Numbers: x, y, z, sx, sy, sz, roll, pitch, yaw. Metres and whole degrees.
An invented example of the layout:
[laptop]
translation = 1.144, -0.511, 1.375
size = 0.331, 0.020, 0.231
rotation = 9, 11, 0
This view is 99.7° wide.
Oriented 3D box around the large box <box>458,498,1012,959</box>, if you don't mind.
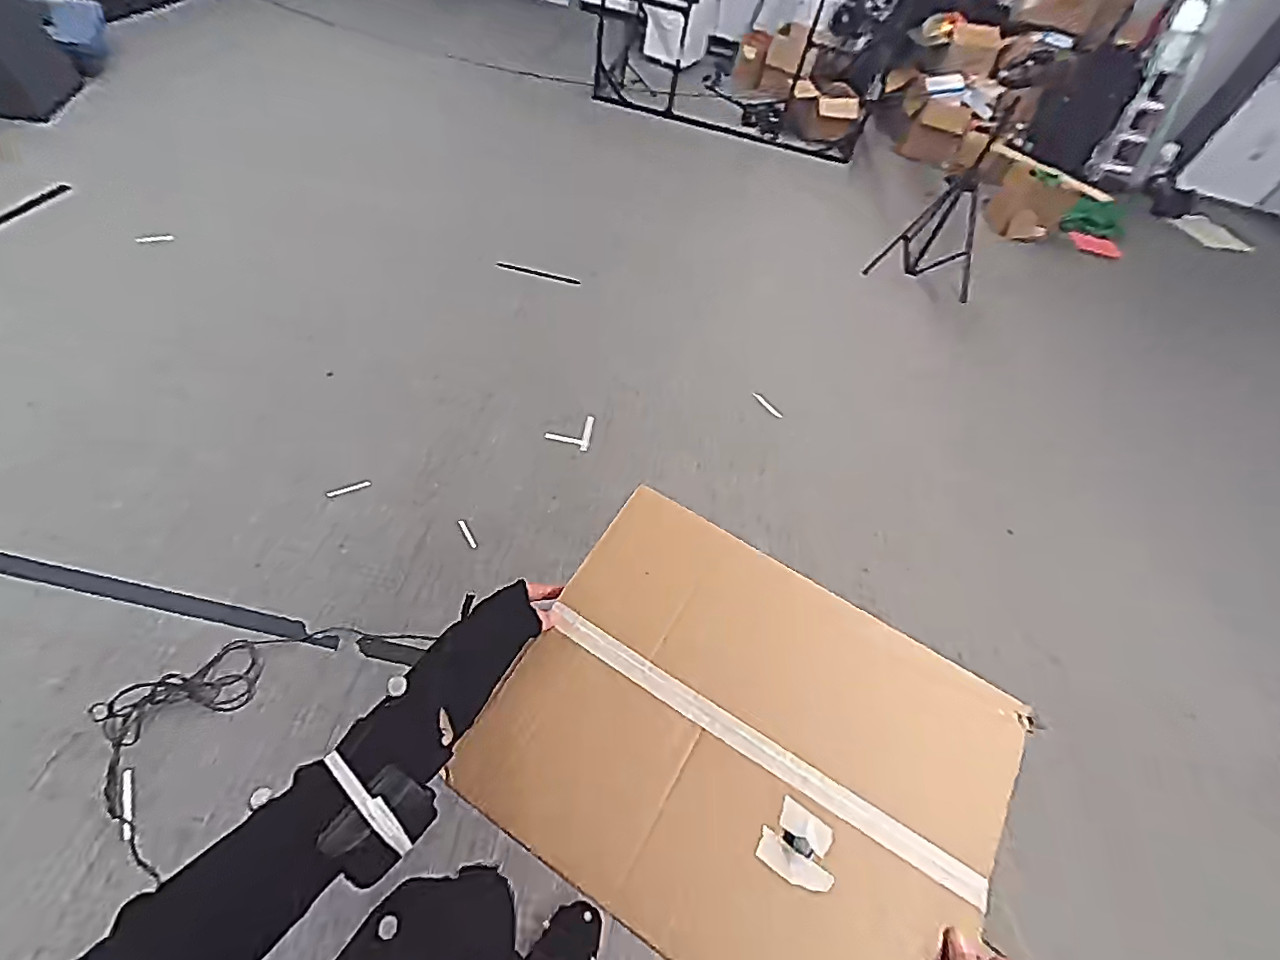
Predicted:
[large box]
translation = 0.084, 0.290, 0.599
size = 0.408, 0.320, 0.320
rotation = 30, 66, 12
